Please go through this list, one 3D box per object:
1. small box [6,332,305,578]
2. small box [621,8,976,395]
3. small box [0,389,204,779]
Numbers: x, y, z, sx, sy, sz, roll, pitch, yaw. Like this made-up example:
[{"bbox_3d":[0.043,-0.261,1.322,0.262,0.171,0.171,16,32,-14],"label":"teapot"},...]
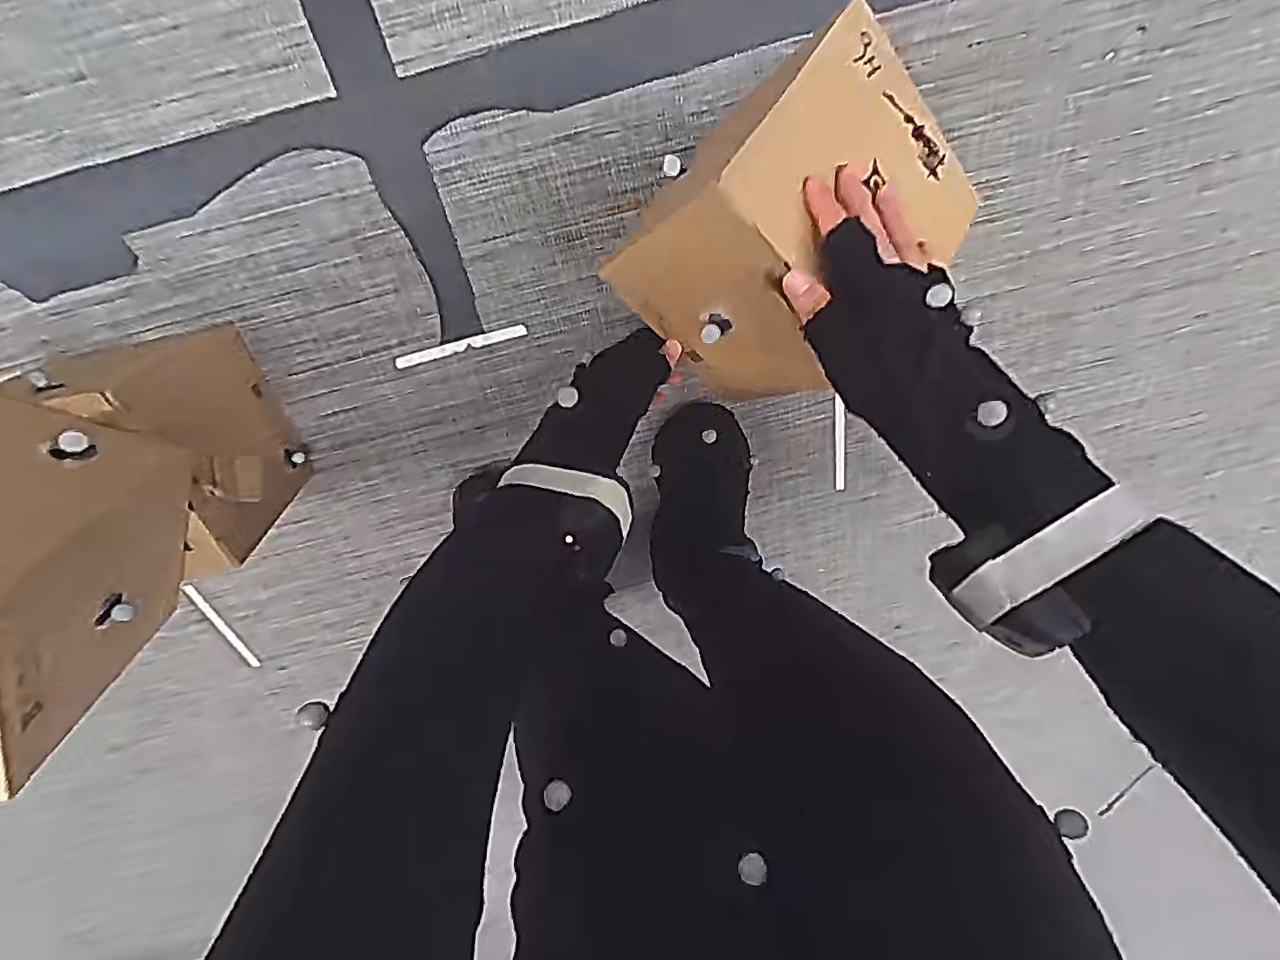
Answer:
[{"bbox_3d":[-0.437,-0.019,0.482,0.179,0.176,0.168,-12,122,0],"label":"small box"},{"bbox_3d":[0.107,-0.182,0.419,0.168,0.176,0.179,40,76,-24],"label":"small box"},{"bbox_3d":[-0.419,0.057,0.333,0.179,0.176,0.168,19,116,-18],"label":"small box"}]
